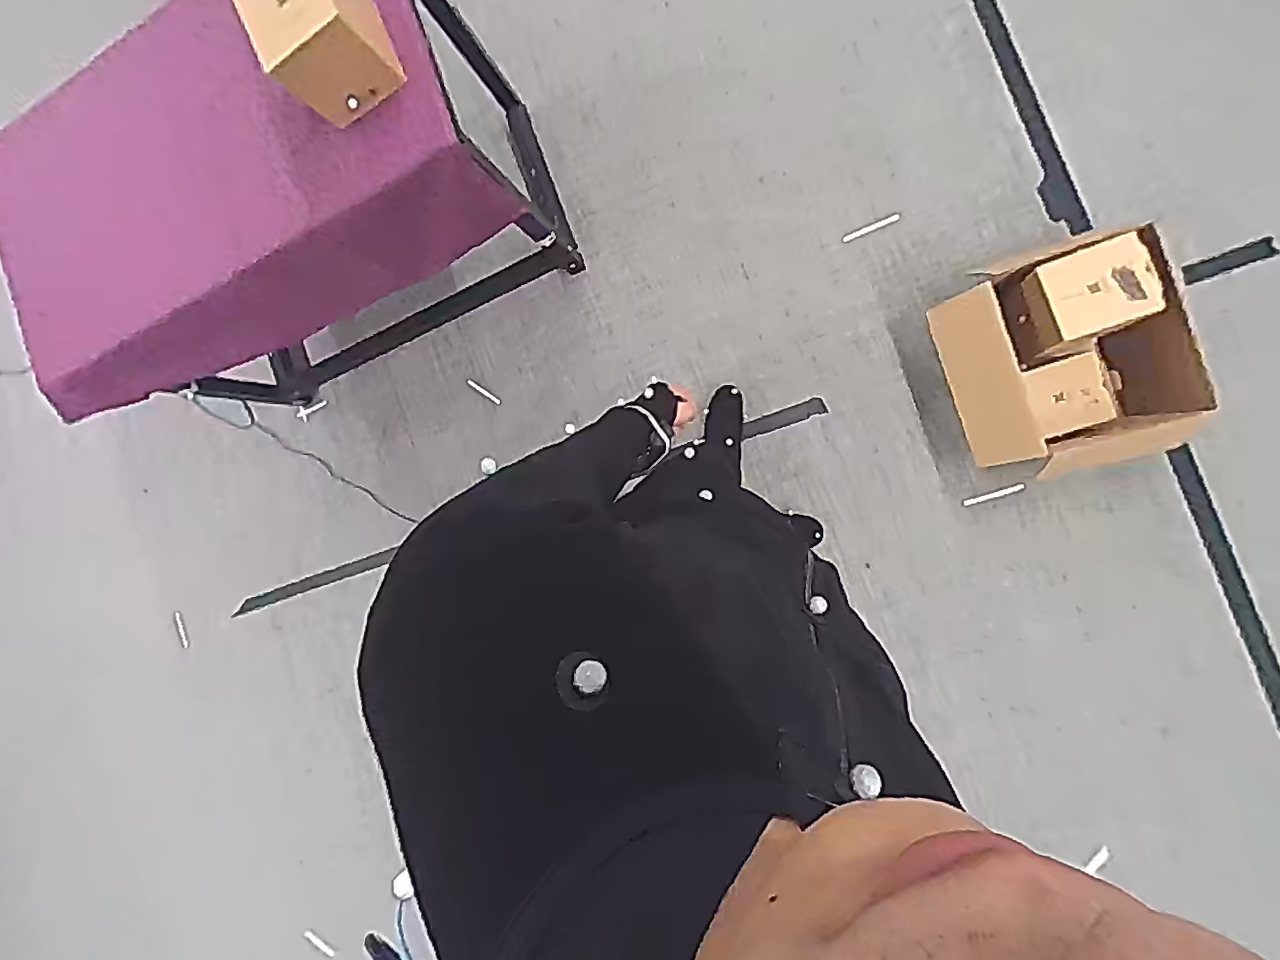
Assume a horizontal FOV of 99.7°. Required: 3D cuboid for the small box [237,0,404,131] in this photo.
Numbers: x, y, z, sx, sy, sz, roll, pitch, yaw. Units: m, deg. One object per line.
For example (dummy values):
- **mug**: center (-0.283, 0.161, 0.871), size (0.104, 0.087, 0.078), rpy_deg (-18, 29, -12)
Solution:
- **small box**: center (-0.560, -0.779, 0.961), size (0.168, 0.176, 0.179), rpy_deg (-24, 86, 15)
